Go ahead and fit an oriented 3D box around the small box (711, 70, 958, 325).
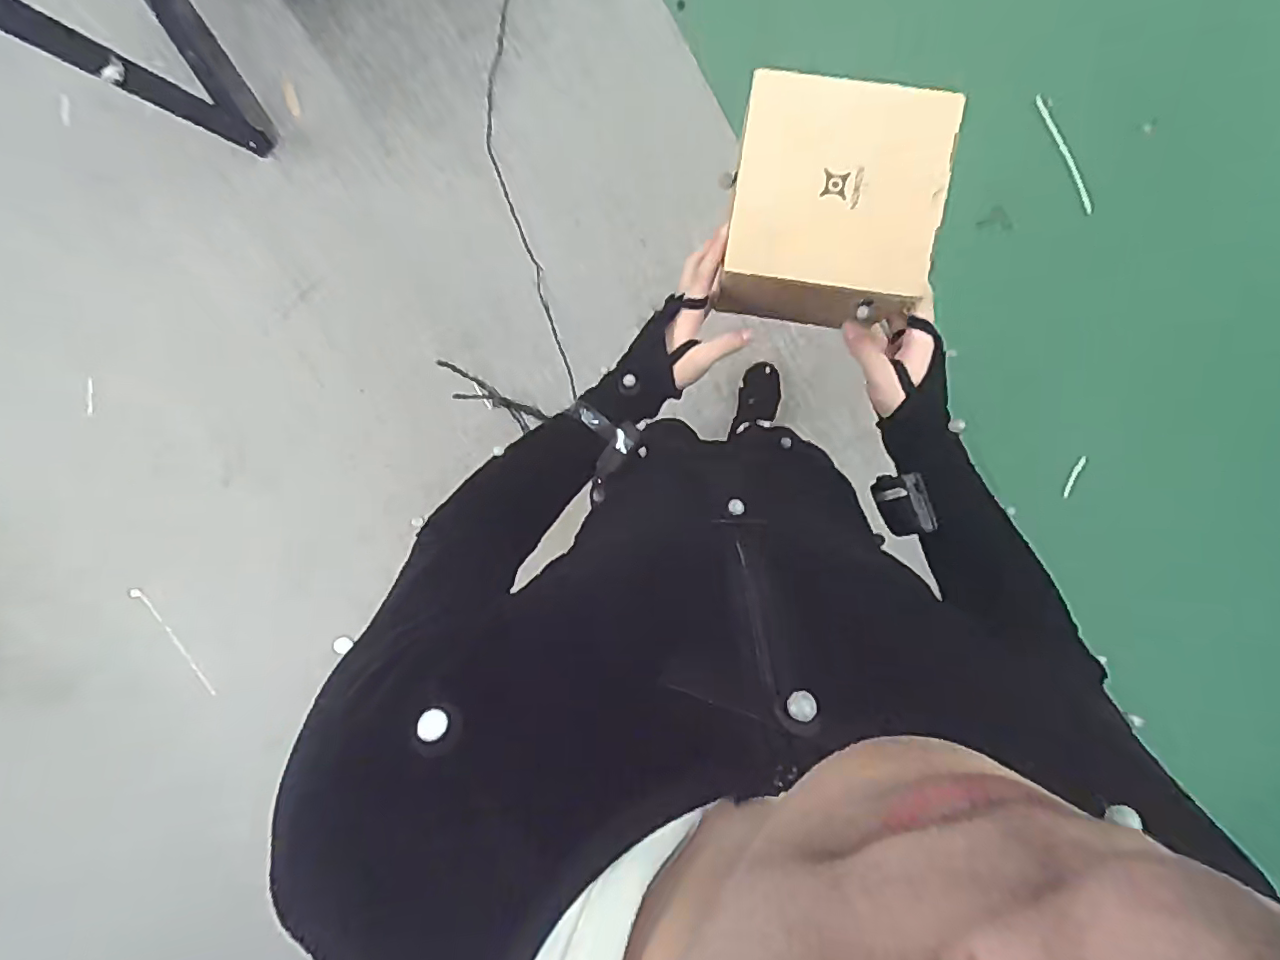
[{"bbox_3d":[0.170,-0.257,0.534,0.179,0.176,0.168,8,97,2],"label":"small box"}]
